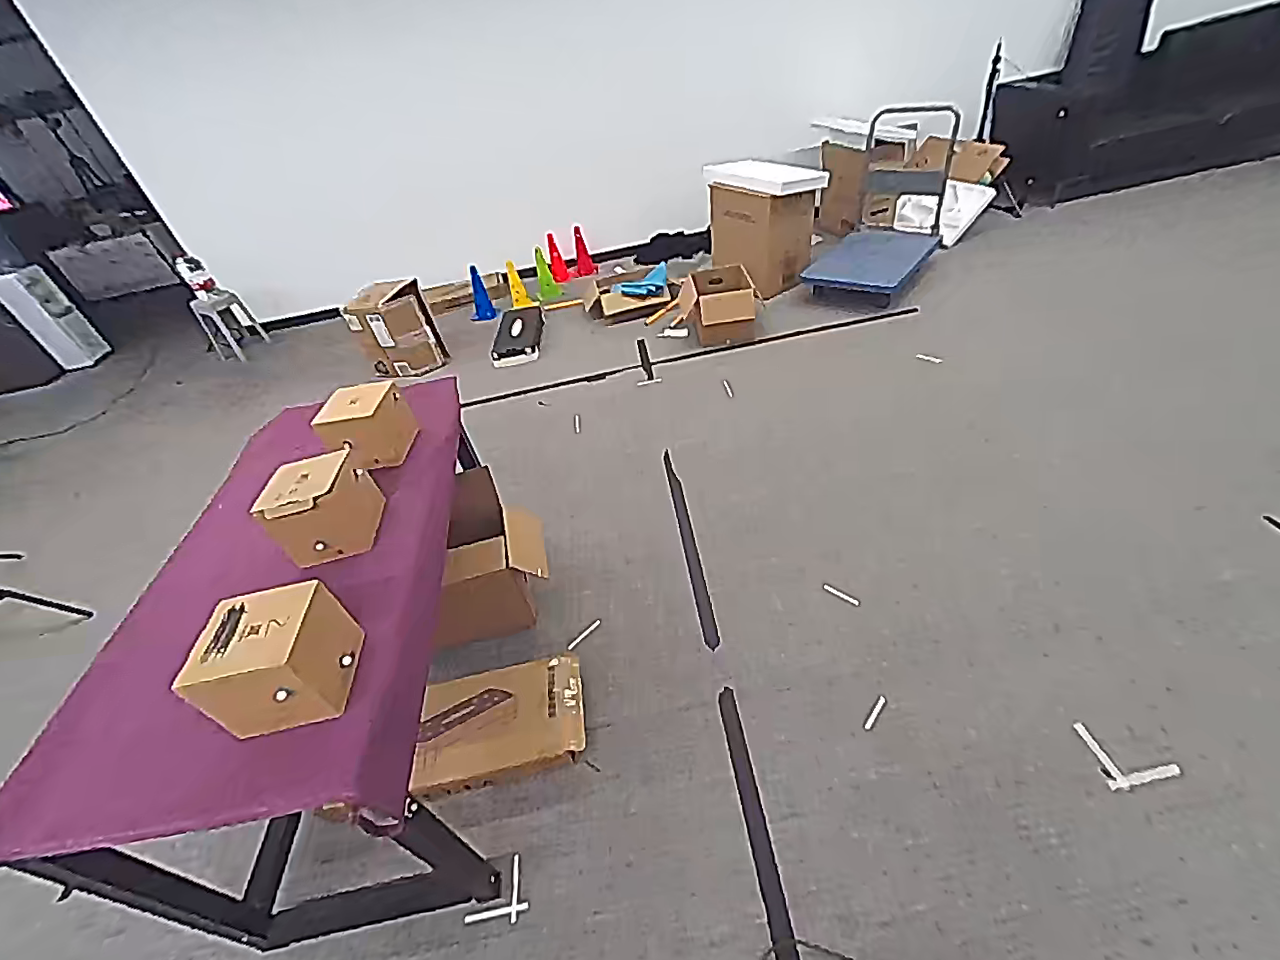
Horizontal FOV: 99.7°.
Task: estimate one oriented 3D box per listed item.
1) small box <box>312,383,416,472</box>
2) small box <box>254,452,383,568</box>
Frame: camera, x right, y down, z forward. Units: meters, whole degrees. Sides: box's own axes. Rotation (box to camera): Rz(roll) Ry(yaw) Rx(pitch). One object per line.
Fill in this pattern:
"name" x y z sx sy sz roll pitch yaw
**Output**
"small box" -0.729 -0.134 1.454 0.168 0.176 0.179 -9 40 4
"small box" -0.703 0.067 1.209 0.168 0.176 0.179 -15 40 0
